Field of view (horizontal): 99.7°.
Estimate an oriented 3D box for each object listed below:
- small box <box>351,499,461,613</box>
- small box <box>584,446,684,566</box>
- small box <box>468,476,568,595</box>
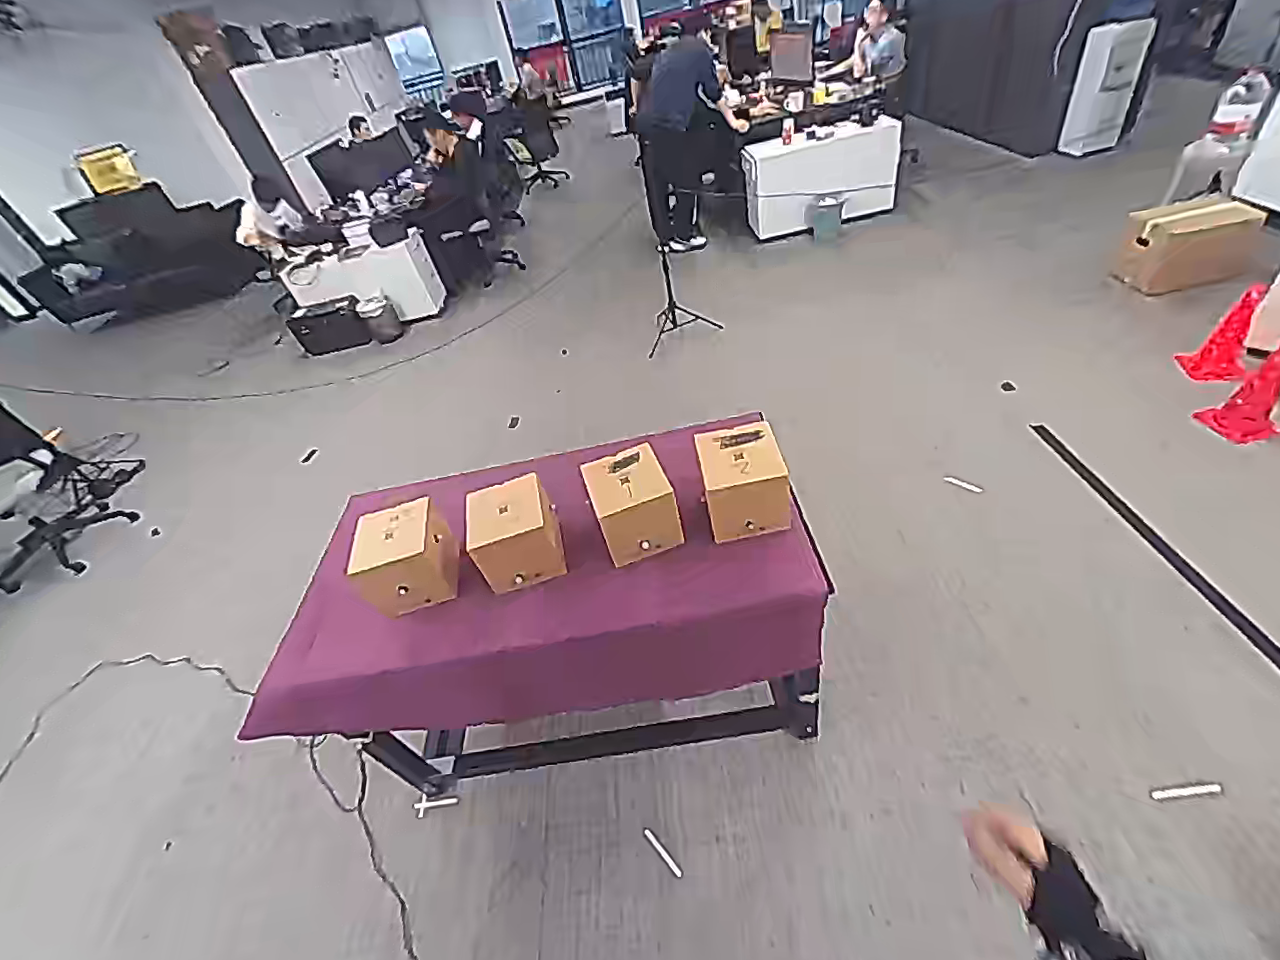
[{"bbox_3d":[-0.518,0.178,1.224,0.168,0.176,0.179,-16,41,-2],"label":"small box"},{"bbox_3d":[-0.012,0.058,1.202,0.168,0.176,0.179,-20,42,-5],"label":"small box"},{"bbox_3d":[-0.271,0.124,1.211,0.168,0.176,0.179,-18,41,-2],"label":"small box"}]
